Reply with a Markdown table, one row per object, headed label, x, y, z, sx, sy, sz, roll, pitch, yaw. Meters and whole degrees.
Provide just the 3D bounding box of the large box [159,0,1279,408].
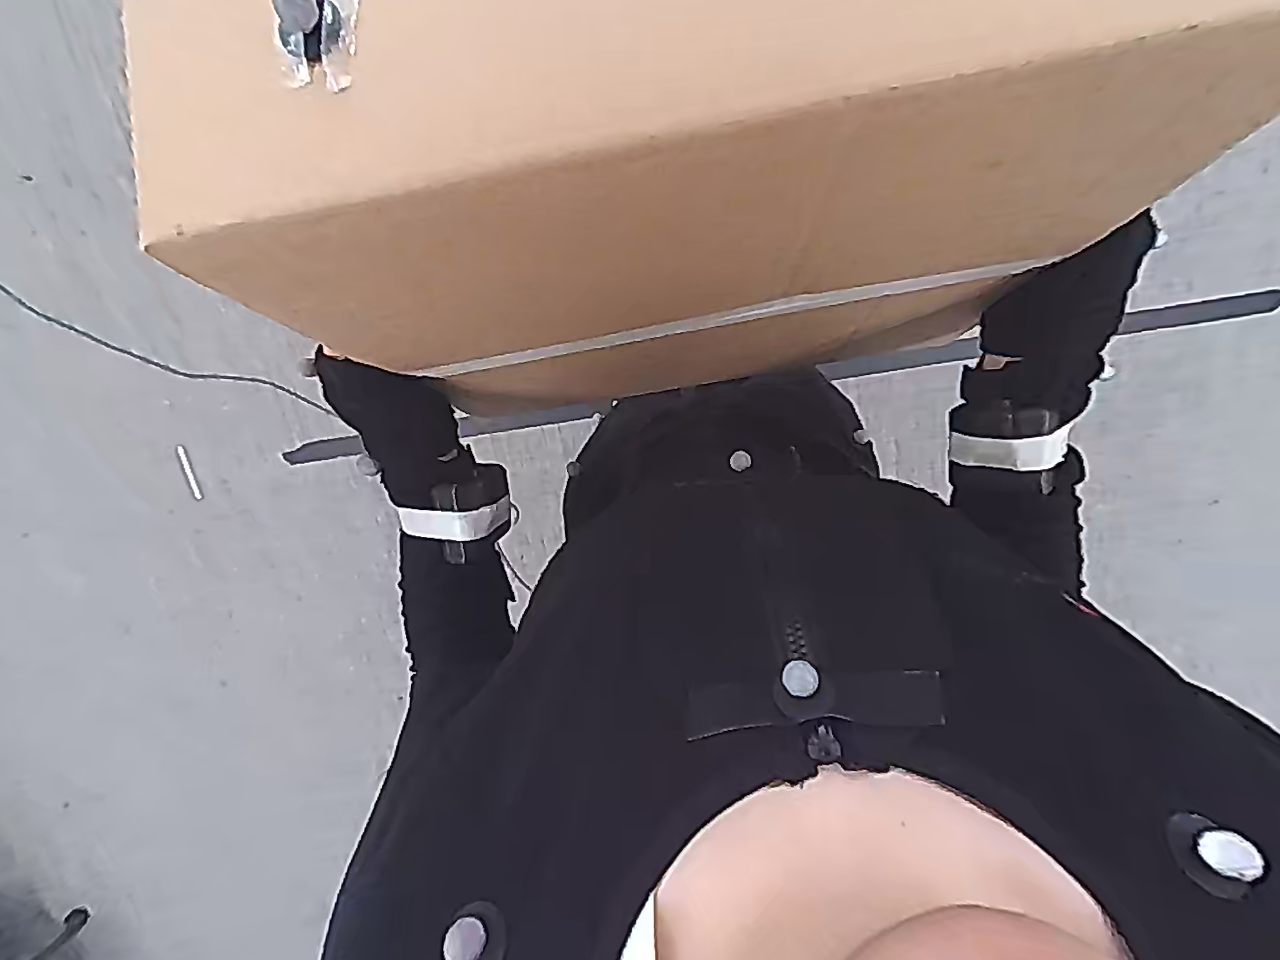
| label | x | y | z | sx | sy | sz | roll | pitch | yaw |
| --- | --- | --- | --- | --- | --- | --- | --- | --- | --- |
| large box | 0.021 | -0.256 | 0.335 | 0.408 | 0.320 | 0.320 | -9 | 85 | 4 |
